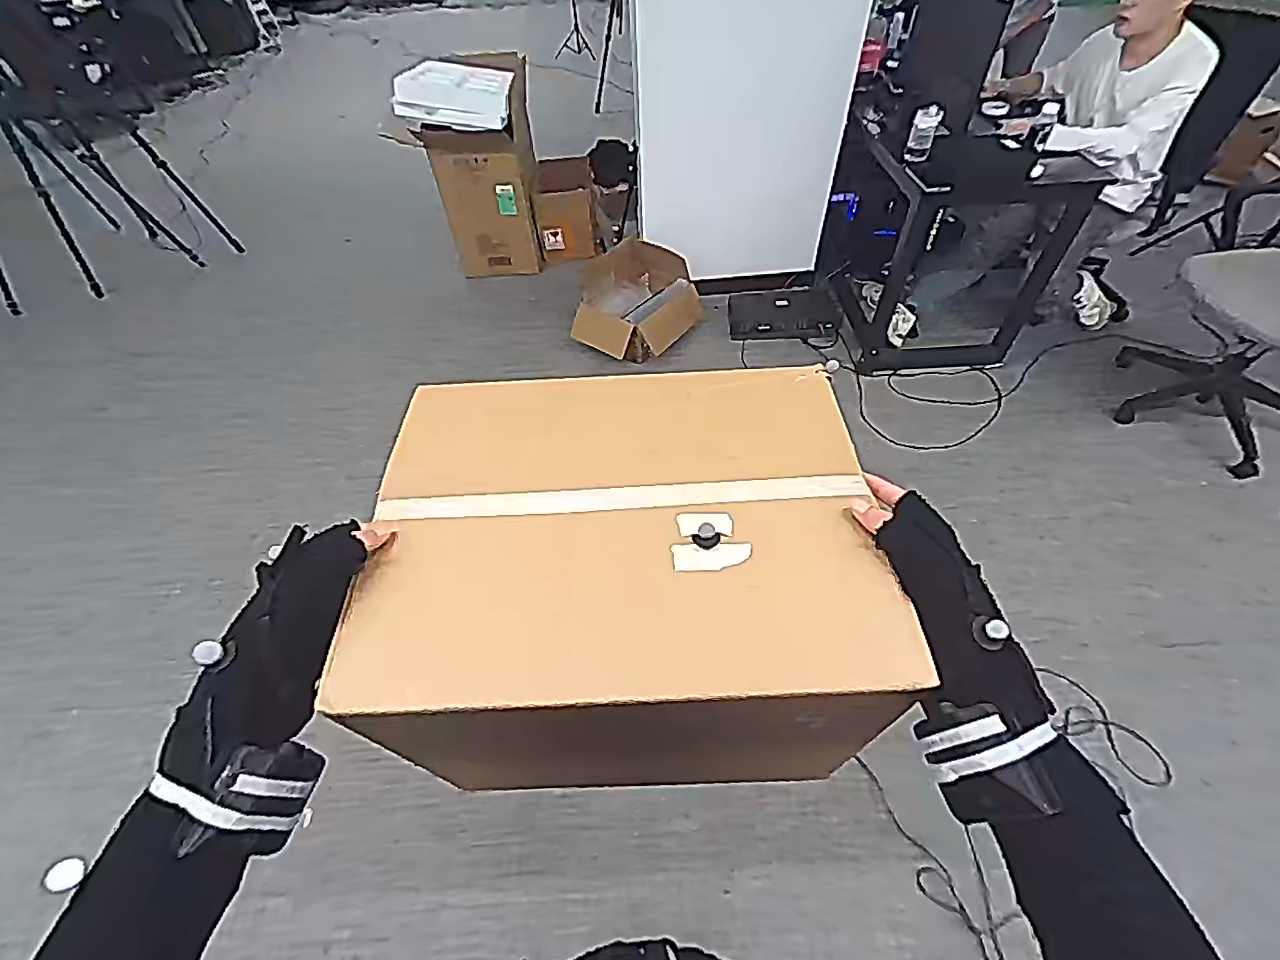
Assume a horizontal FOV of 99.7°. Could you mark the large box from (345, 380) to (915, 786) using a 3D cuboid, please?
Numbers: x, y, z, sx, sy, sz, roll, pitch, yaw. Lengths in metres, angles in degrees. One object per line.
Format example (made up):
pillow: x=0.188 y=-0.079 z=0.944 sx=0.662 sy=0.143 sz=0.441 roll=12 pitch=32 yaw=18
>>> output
large box: x=-0.009 y=0.118 z=0.577 sx=0.408 sy=0.320 sz=0.320 roll=-2 pitch=52 yaw=1
